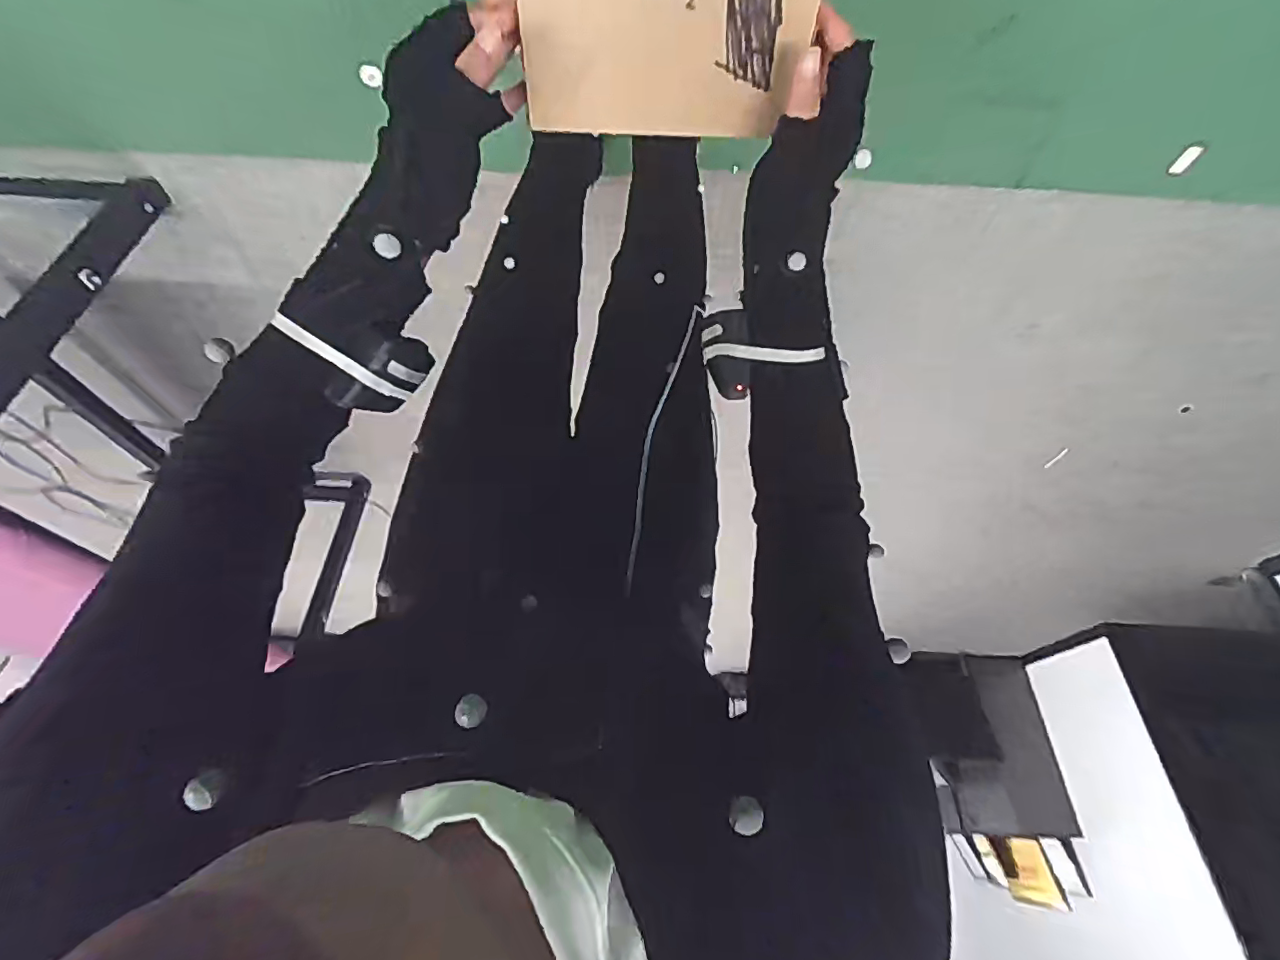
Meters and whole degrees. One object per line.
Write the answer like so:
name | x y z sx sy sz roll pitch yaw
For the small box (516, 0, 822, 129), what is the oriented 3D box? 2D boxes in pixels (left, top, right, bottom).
small box | 0.014 -0.346 0.330 0.179 0.176 0.168 0 144 -6
